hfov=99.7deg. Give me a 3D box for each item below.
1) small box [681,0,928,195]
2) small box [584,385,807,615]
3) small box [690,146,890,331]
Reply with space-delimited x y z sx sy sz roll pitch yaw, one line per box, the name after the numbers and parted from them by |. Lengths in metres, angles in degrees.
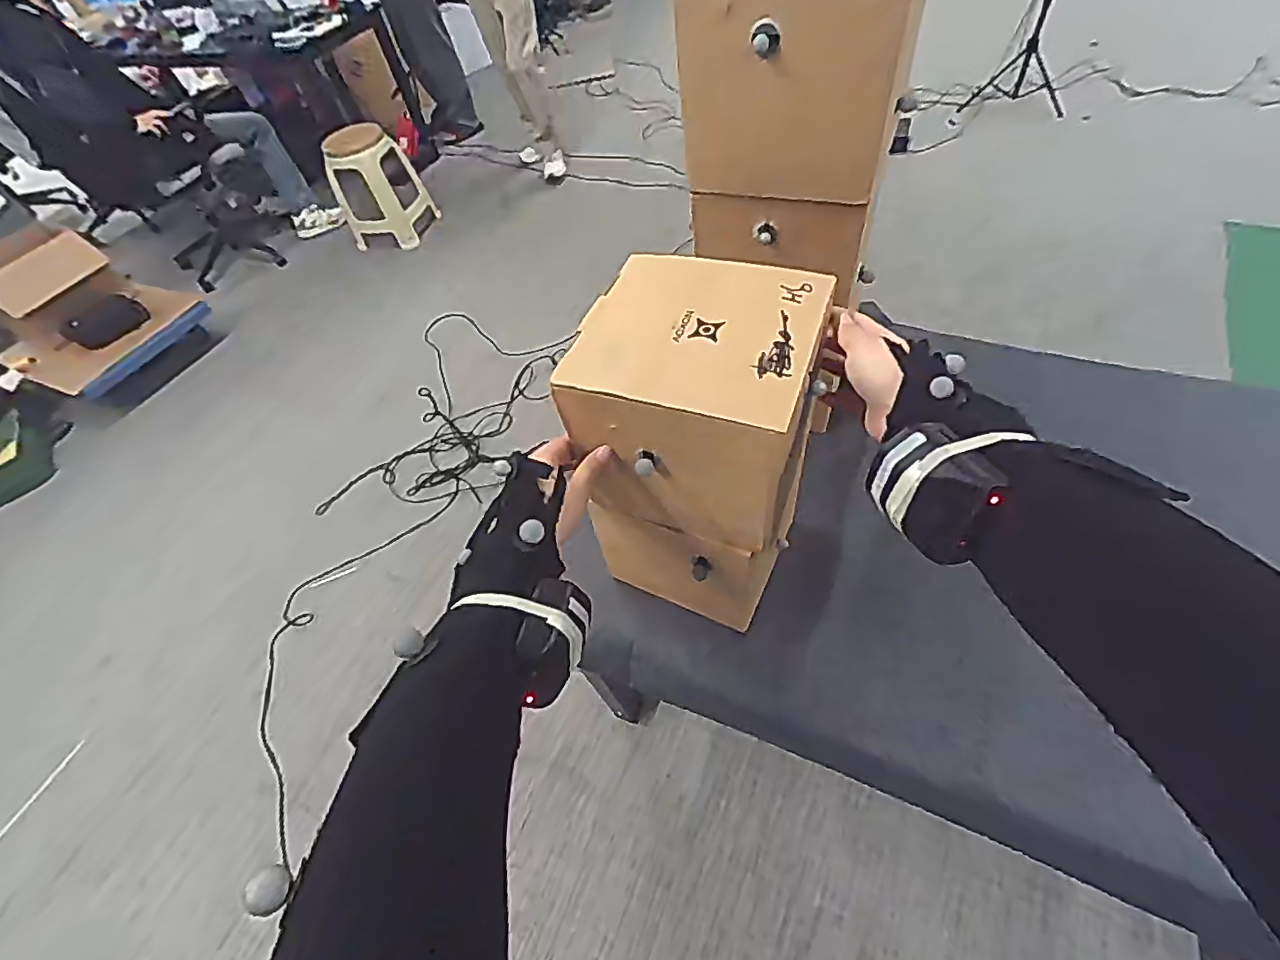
0.144 -0.378 0.476 0.179 0.176 0.168 16 61 19 | small box
0.066 0.027 0.602 0.179 0.176 0.168 19 58 22 | small box
0.168 -0.294 0.616 0.179 0.176 0.168 15 61 17 | small box
